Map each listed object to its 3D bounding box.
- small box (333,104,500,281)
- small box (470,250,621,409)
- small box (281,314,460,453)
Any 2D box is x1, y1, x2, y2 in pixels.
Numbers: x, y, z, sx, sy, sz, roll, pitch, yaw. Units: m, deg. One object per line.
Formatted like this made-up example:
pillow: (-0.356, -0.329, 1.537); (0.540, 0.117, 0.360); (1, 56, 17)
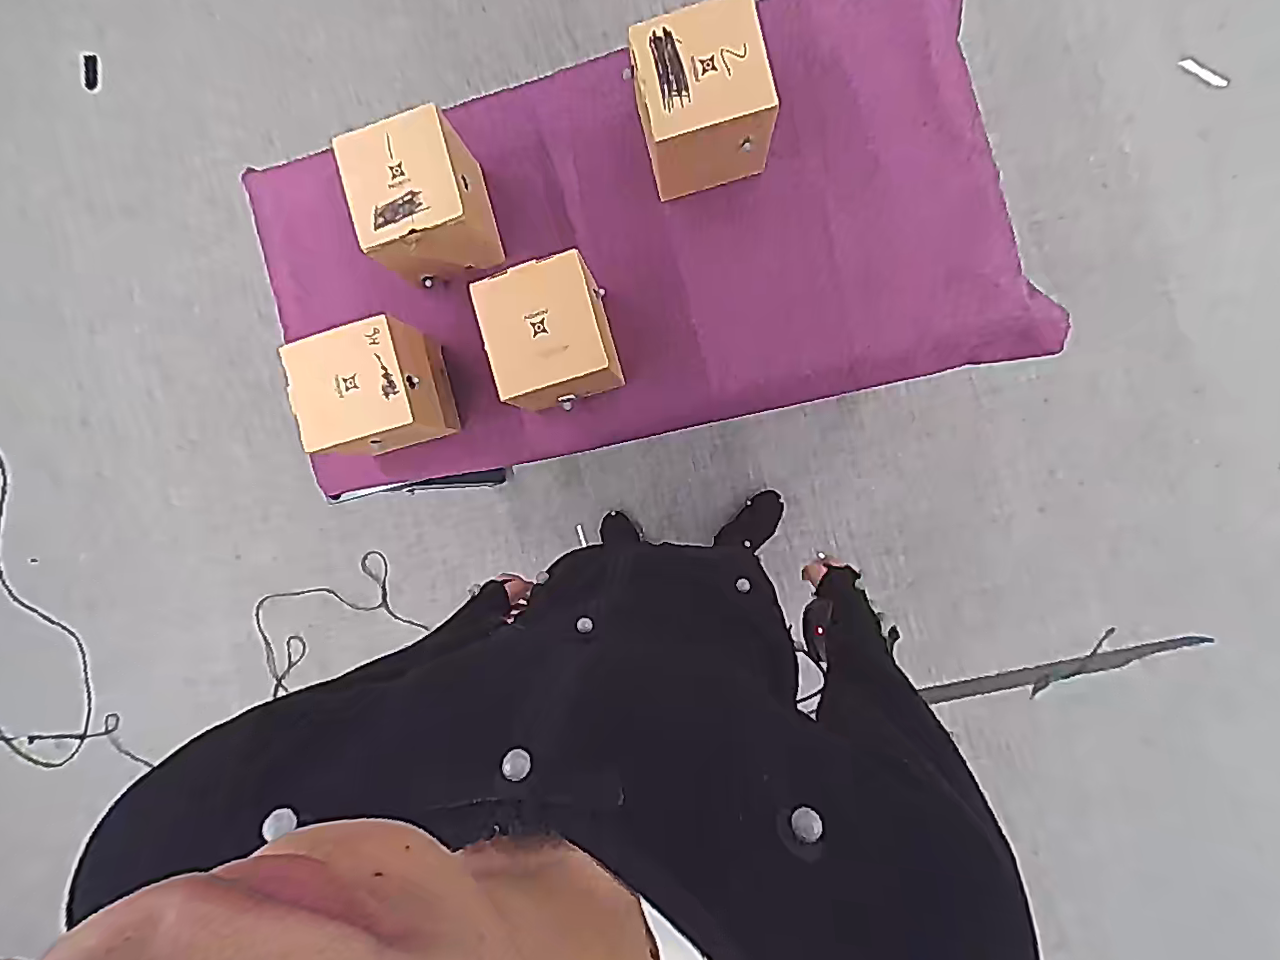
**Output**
small box: (-0.342, -0.437, 0.861); (0.168, 0.176, 0.179); (-15, 89, 5)
small box: (-0.137, -0.221, 0.842); (0.168, 0.176, 0.179); (-16, 90, 6)
small box: (-0.421, -0.143, 0.869); (0.179, 0.176, 0.168); (-15, 89, 6)
